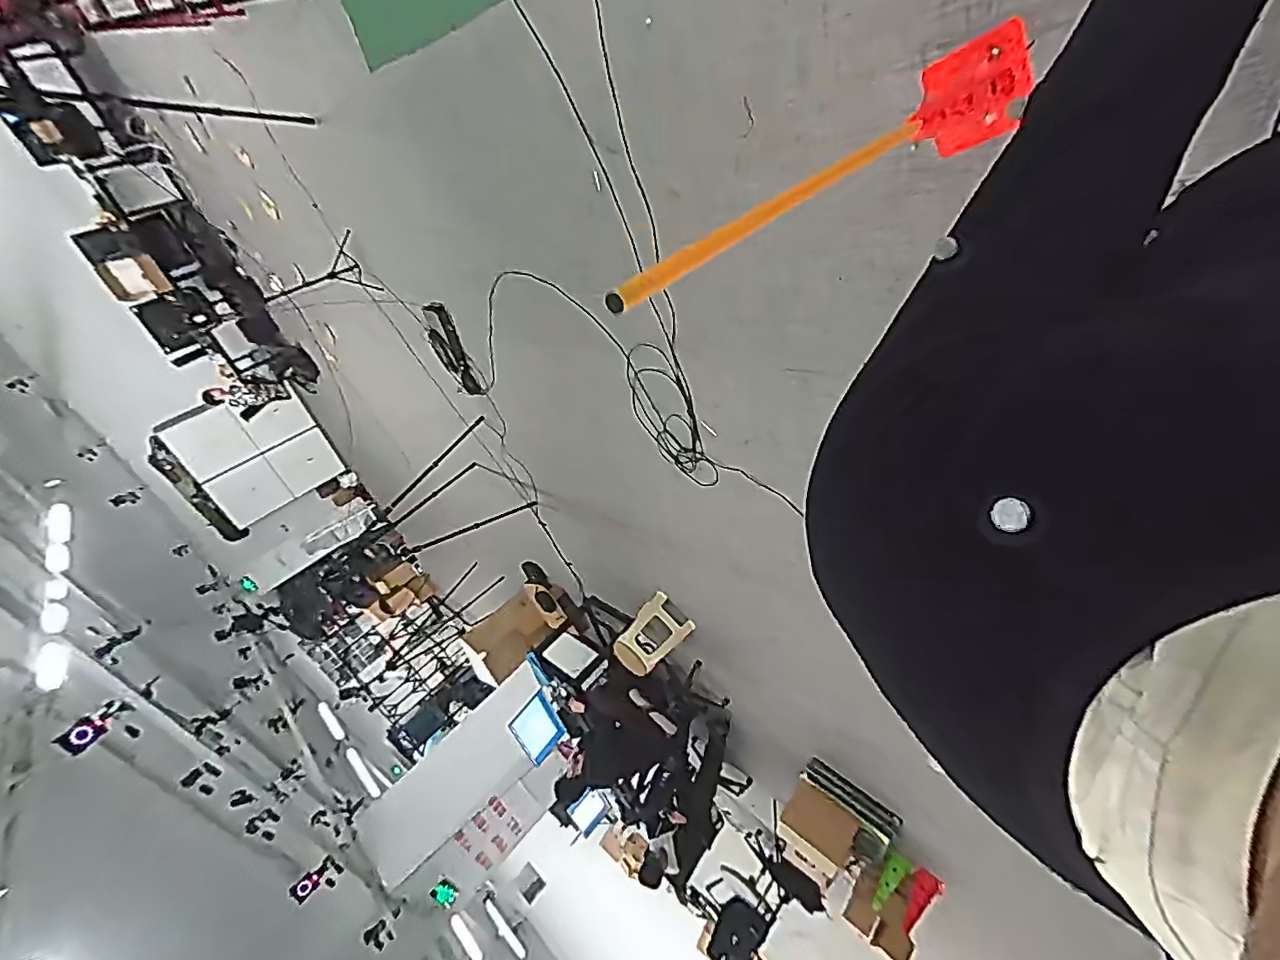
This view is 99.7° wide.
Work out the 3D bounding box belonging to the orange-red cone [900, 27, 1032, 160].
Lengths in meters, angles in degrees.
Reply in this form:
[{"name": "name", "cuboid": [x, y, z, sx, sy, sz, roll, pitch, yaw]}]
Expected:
[{"name": "orange-red cone", "cuboid": [0.626, -0.749, 1.108, 0.199, 0.360, 0.198, 3, 125, 53]}]
